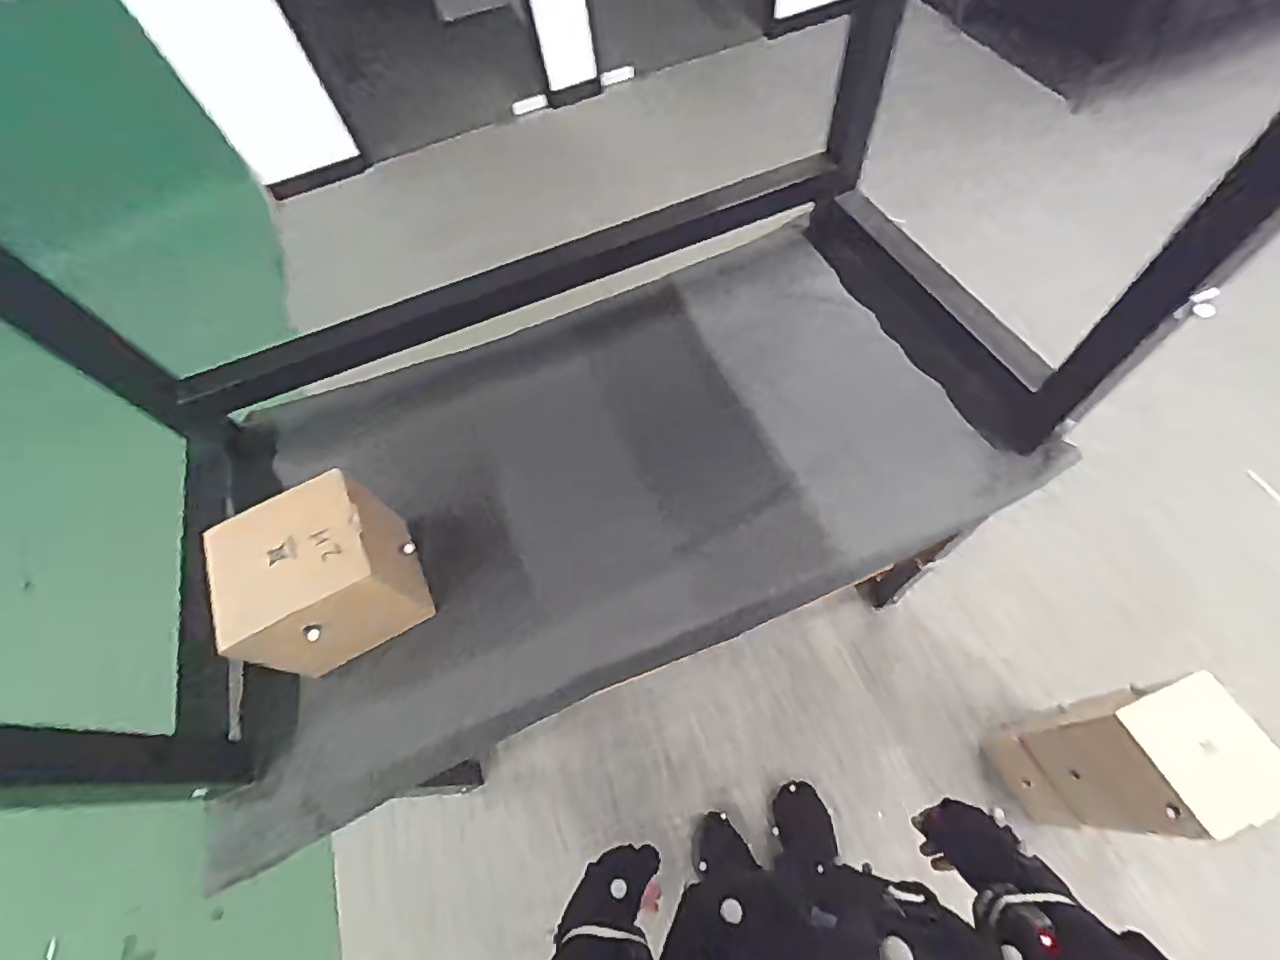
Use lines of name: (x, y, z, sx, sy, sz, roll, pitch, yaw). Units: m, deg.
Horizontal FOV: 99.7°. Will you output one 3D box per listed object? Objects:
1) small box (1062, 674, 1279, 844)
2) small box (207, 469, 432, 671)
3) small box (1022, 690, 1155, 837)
small box: (0.816, 0.426, 0.832, 0.168, 0.176, 0.179, -22, 61, -4)
small box: (-0.402, 0.123, 0.695, 0.179, 0.176, 0.168, -27, 62, -8)
small box: (0.850, 0.505, 0.972, 0.168, 0.176, 0.179, -24, 60, -6)
